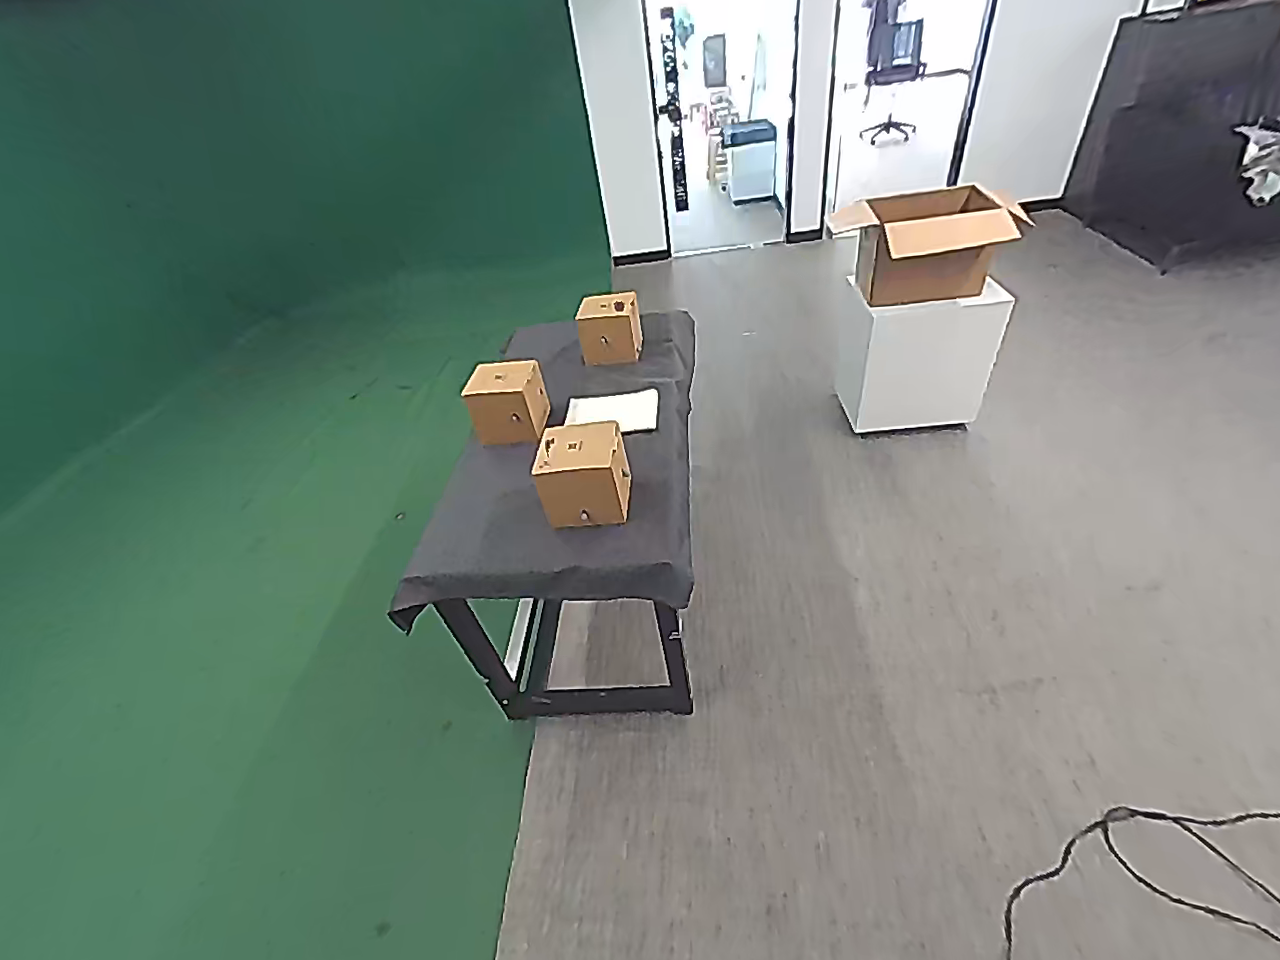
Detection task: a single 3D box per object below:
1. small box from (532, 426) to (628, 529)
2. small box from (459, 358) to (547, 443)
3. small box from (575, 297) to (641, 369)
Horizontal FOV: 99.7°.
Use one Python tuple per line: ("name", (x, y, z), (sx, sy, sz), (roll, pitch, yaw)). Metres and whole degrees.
("small box", (-0.127, -0.002, 1.233), (0.179, 0.176, 0.168), (-4, 40, 8))
("small box", (-0.372, -0.220, 1.510), (0.179, 0.176, 0.168), (-4, 40, 8))
("small box", (-0.098, -0.481, 1.772), (0.179, 0.176, 0.168), (-2, 41, 10))
